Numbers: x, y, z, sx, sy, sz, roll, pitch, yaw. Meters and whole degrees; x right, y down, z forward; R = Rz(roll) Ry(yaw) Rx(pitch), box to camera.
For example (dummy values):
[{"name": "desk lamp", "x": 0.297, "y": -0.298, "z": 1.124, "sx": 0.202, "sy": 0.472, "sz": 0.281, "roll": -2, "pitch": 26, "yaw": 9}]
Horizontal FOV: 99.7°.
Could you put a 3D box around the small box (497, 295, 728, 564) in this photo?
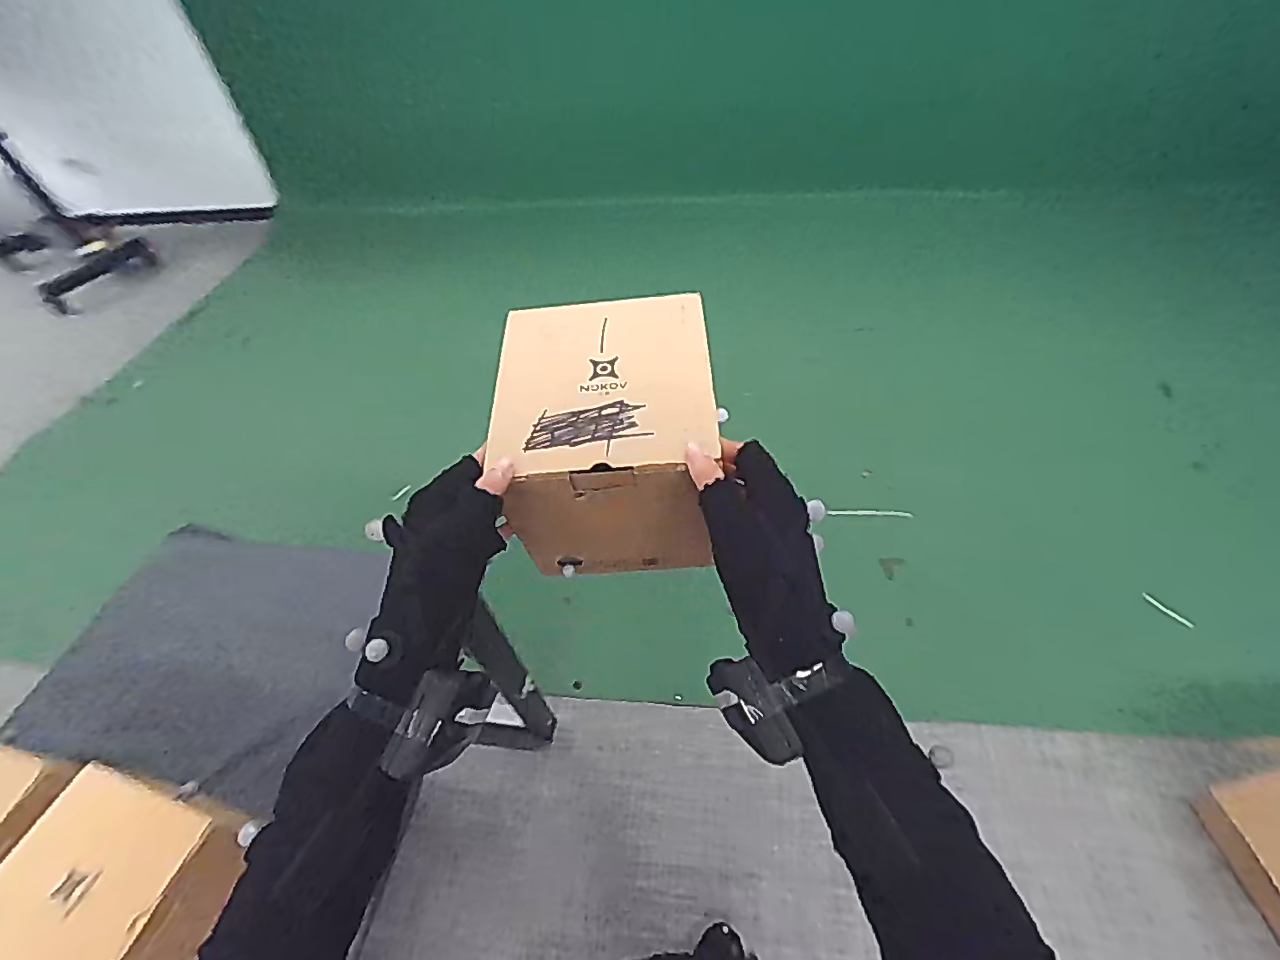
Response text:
[{"name": "small box", "x": -0.010, "y": -0.033, "z": 0.479, "sx": 0.168, "sy": 0.176, "sz": 0.179, "roll": -4, "pitch": 56, "yaw": 5}]
